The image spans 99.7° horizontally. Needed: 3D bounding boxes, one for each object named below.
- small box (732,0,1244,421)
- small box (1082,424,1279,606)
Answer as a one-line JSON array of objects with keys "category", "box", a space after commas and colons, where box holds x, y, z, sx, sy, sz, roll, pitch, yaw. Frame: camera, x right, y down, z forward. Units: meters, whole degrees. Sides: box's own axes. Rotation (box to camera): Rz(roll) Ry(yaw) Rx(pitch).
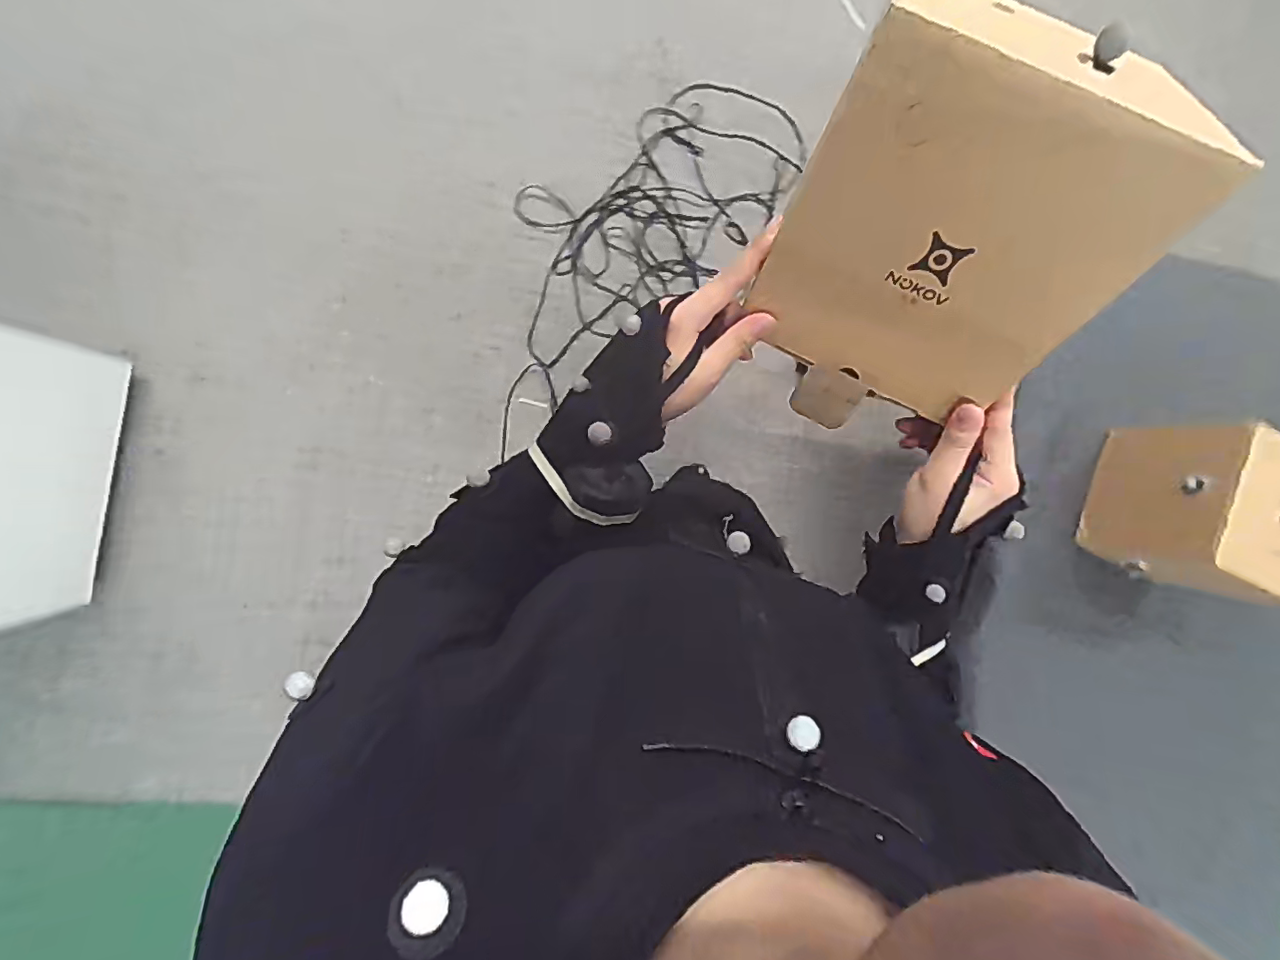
[{"category": "small box", "box": [0.177, -0.176, 0.334, 0.168, 0.179, 0.176, 23, 54, 1]}, {"category": "small box", "box": [0.727, 0.043, 0.696, 0.168, 0.176, 0.179, 22, 88, -10]}]
